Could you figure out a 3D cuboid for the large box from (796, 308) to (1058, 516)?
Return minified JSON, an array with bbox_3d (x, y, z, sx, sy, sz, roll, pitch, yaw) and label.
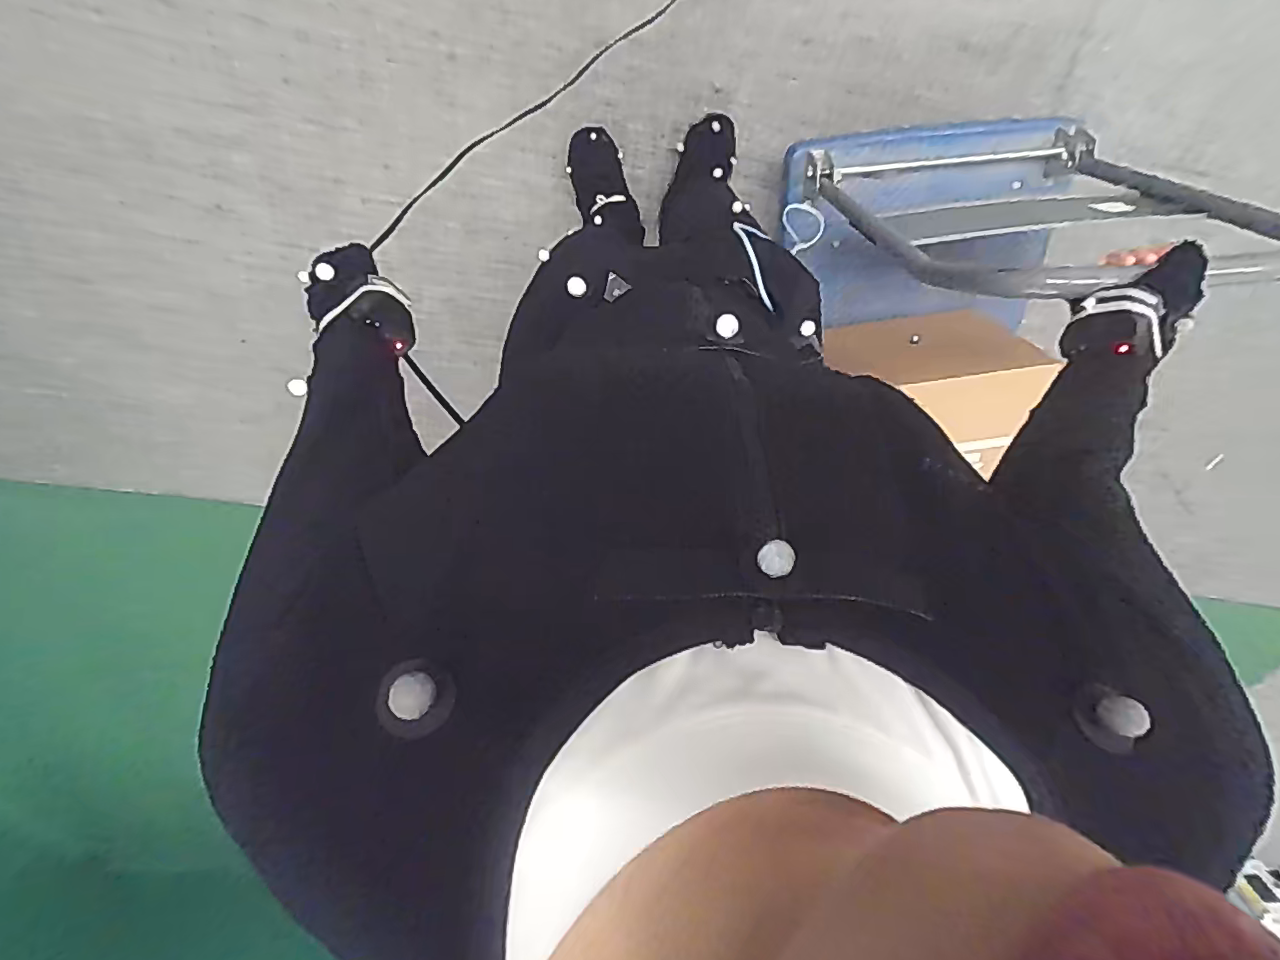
[{"bbox_3d":[0.590,-0.160,1.212,0.408,0.320,0.320,-9,127,2],"label":"large box"}]
